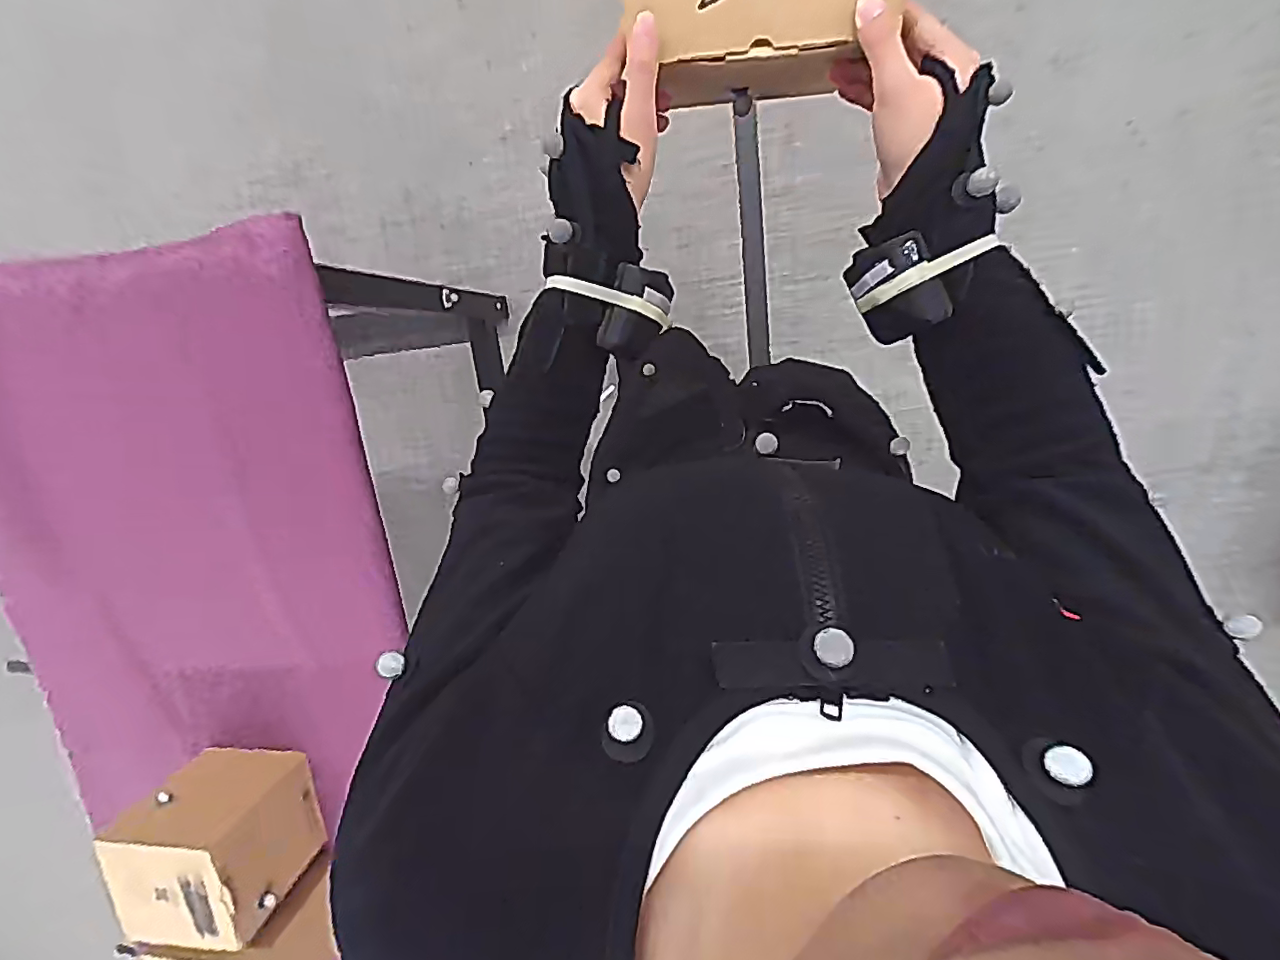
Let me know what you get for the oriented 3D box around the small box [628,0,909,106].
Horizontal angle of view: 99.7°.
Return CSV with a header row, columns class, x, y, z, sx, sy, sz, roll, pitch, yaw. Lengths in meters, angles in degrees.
class,x,y,z,sx,sy,sz,roll,pitch,yaw
small box,0.076,-0.374,0.360,0.168,0.176,0.179,-1,116,6
